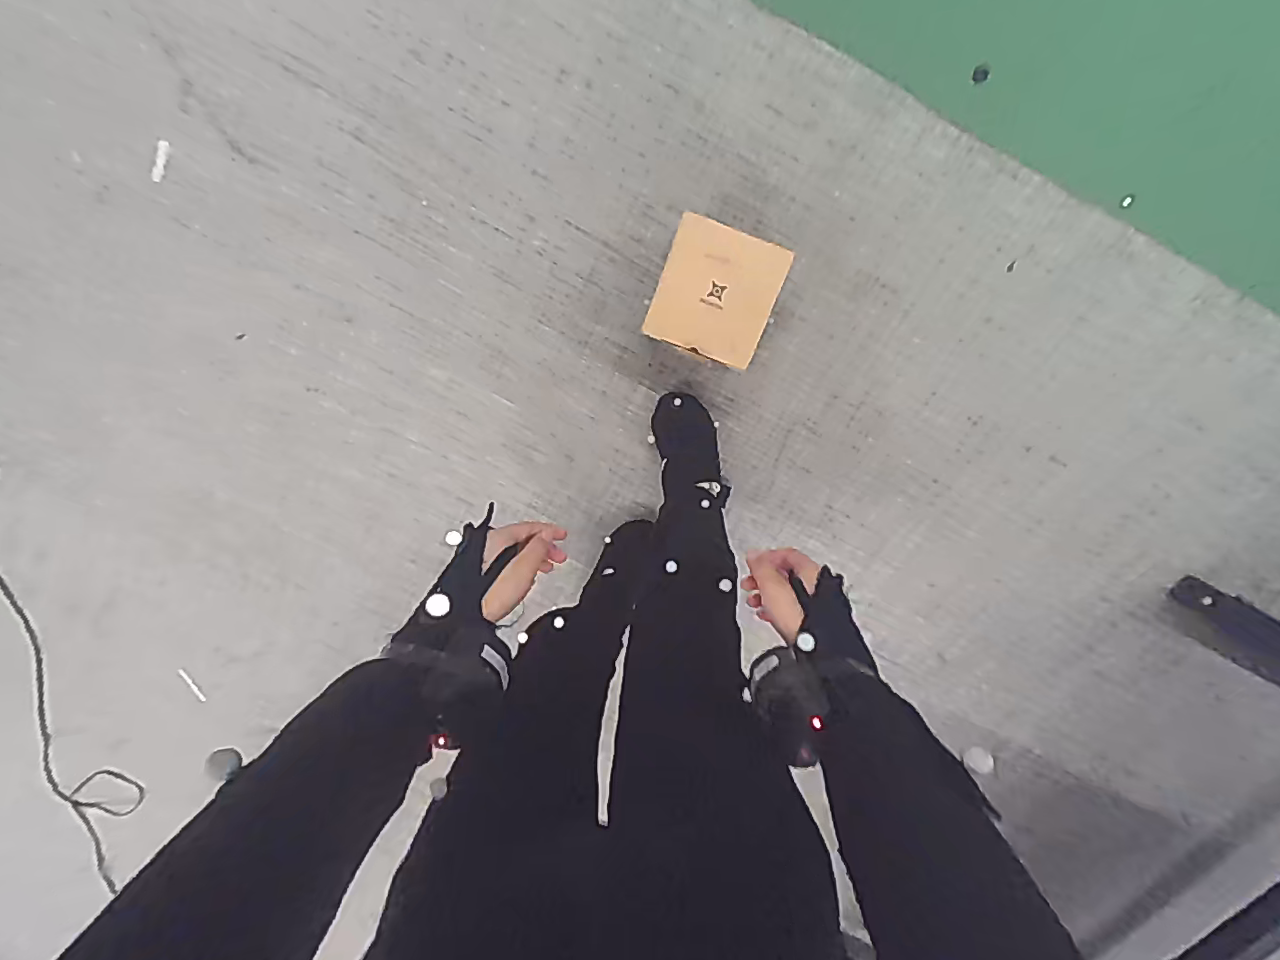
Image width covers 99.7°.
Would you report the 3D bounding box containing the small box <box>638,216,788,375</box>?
[{"bbox_3d":[0.108,-0.280,0.843,0.168,0.176,0.179,20,106,-2],"label":"small box"}]
